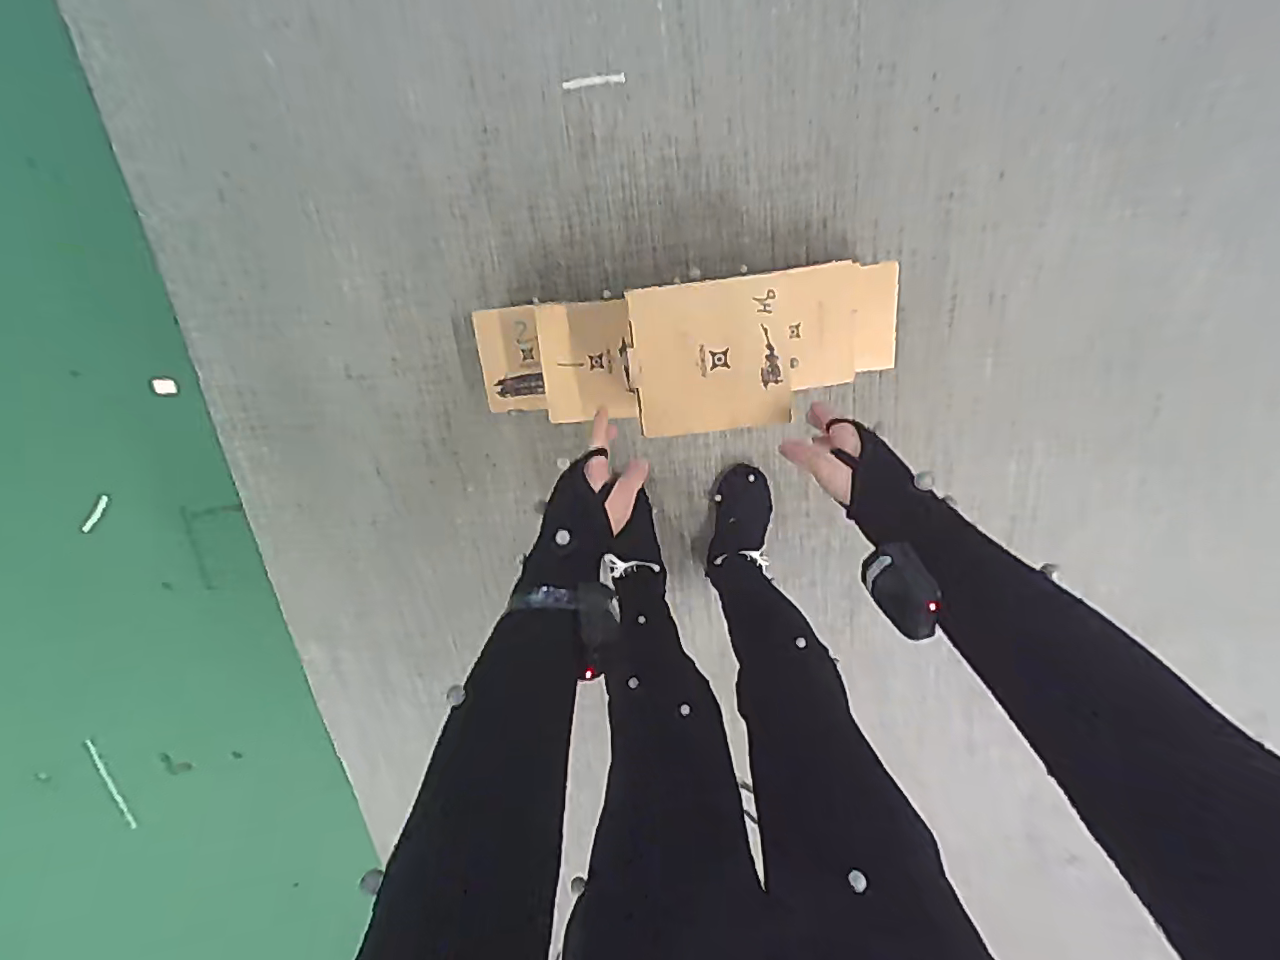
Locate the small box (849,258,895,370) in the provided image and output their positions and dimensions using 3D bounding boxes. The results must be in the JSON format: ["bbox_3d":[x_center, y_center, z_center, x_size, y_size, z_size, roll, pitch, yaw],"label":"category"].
[{"bbox_3d":[0.339,-0.295,0.974,0.168,0.176,0.179,-6,108,3],"label":"small box"}]

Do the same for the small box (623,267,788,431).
[{"bbox_3d":[0.078,-0.166,0.673,0.179,0.176,0.168,-6,110,3],"label":"small box"}]

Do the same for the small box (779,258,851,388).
[{"bbox_3d":[0.203,-0.234,0.823,0.179,0.176,0.168,-8,109,2],"label":"small box"}]

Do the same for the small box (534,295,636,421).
[{"bbox_3d":[-0.053,-0.195,0.837,0.179,0.176,0.168,-4,109,3],"label":"small box"}]
